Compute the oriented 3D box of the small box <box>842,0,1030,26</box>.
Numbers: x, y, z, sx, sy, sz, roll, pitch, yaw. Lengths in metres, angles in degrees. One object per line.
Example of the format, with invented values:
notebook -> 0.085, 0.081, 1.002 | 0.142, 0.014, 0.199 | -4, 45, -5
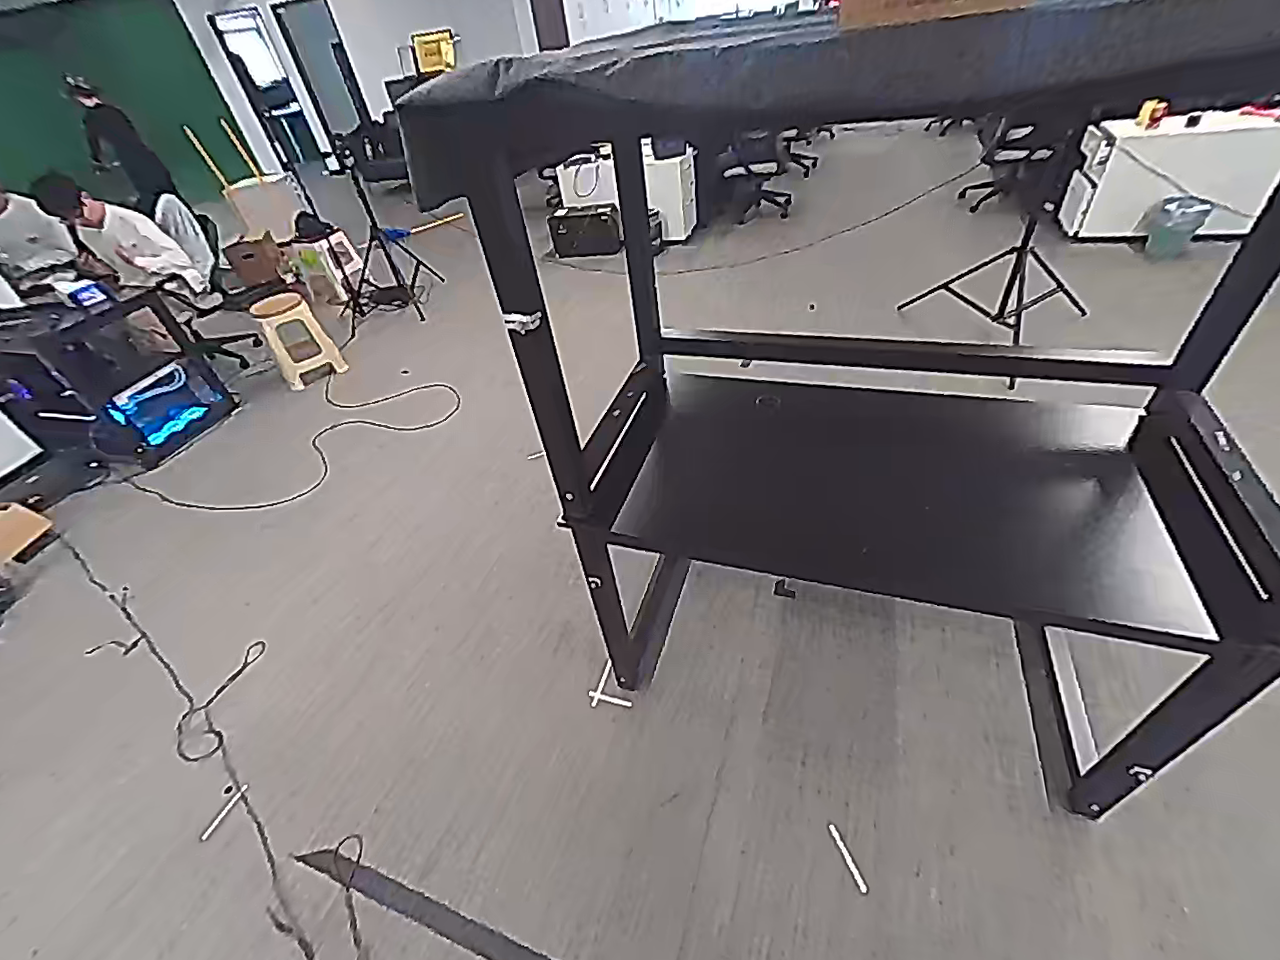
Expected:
small box -> 0.289, -0.542, 0.507 | 0.168, 0.176, 0.179 | 8, 42, 19
